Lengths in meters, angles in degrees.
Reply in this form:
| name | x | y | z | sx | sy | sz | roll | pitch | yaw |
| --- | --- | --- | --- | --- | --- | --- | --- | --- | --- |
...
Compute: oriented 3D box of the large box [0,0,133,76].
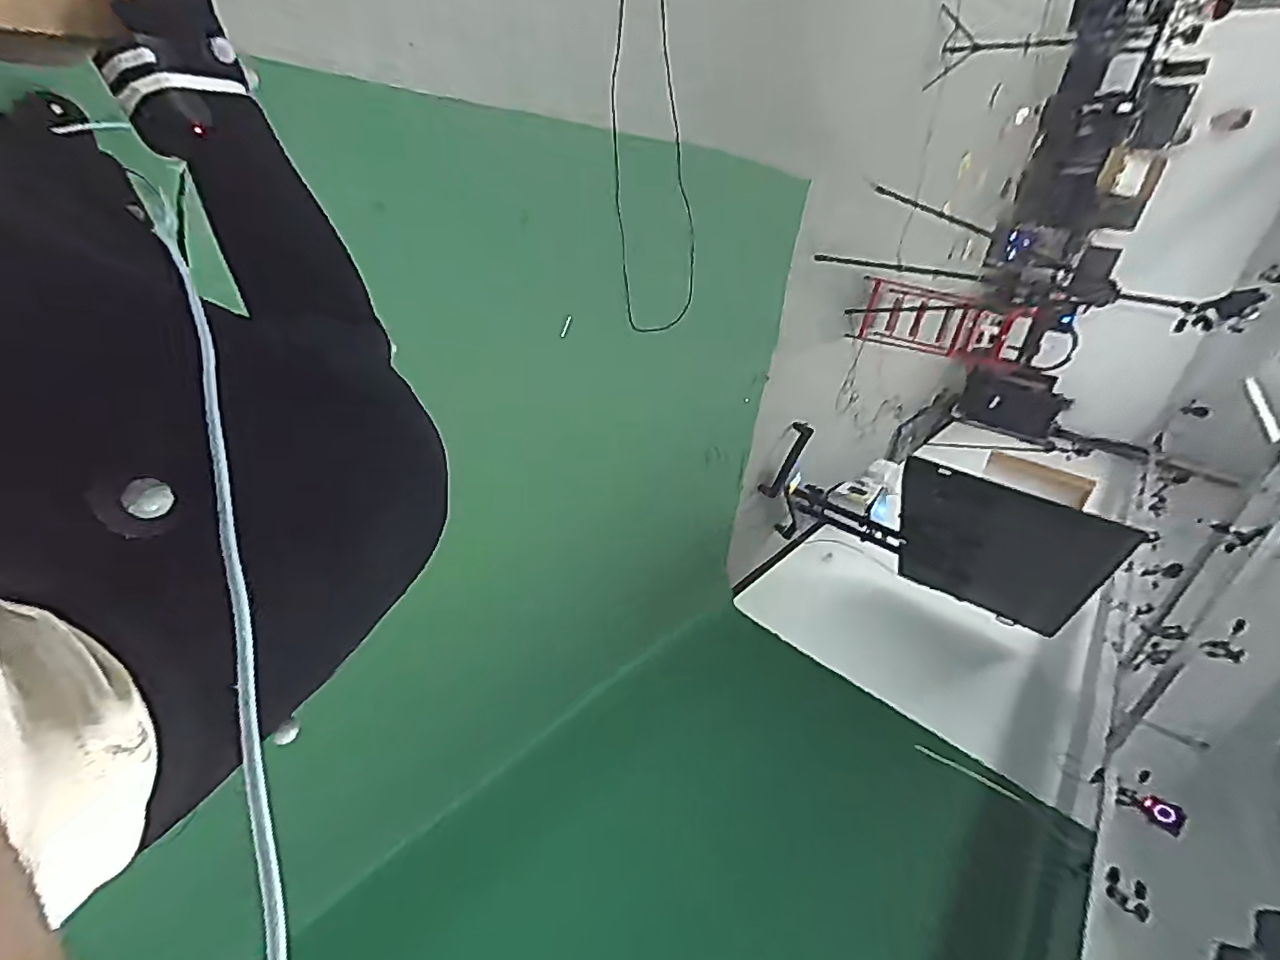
| name | x | y | z | sx | sy | sz | roll | pitch | yaw |
| --- | --- | --- | --- | --- | --- | --- | --- | --- | --- |
| large box | -0.632 | -0.448 | 0.302 | 0.408 | 0.320 | 0.320 | -27 | 133 | -41 |
